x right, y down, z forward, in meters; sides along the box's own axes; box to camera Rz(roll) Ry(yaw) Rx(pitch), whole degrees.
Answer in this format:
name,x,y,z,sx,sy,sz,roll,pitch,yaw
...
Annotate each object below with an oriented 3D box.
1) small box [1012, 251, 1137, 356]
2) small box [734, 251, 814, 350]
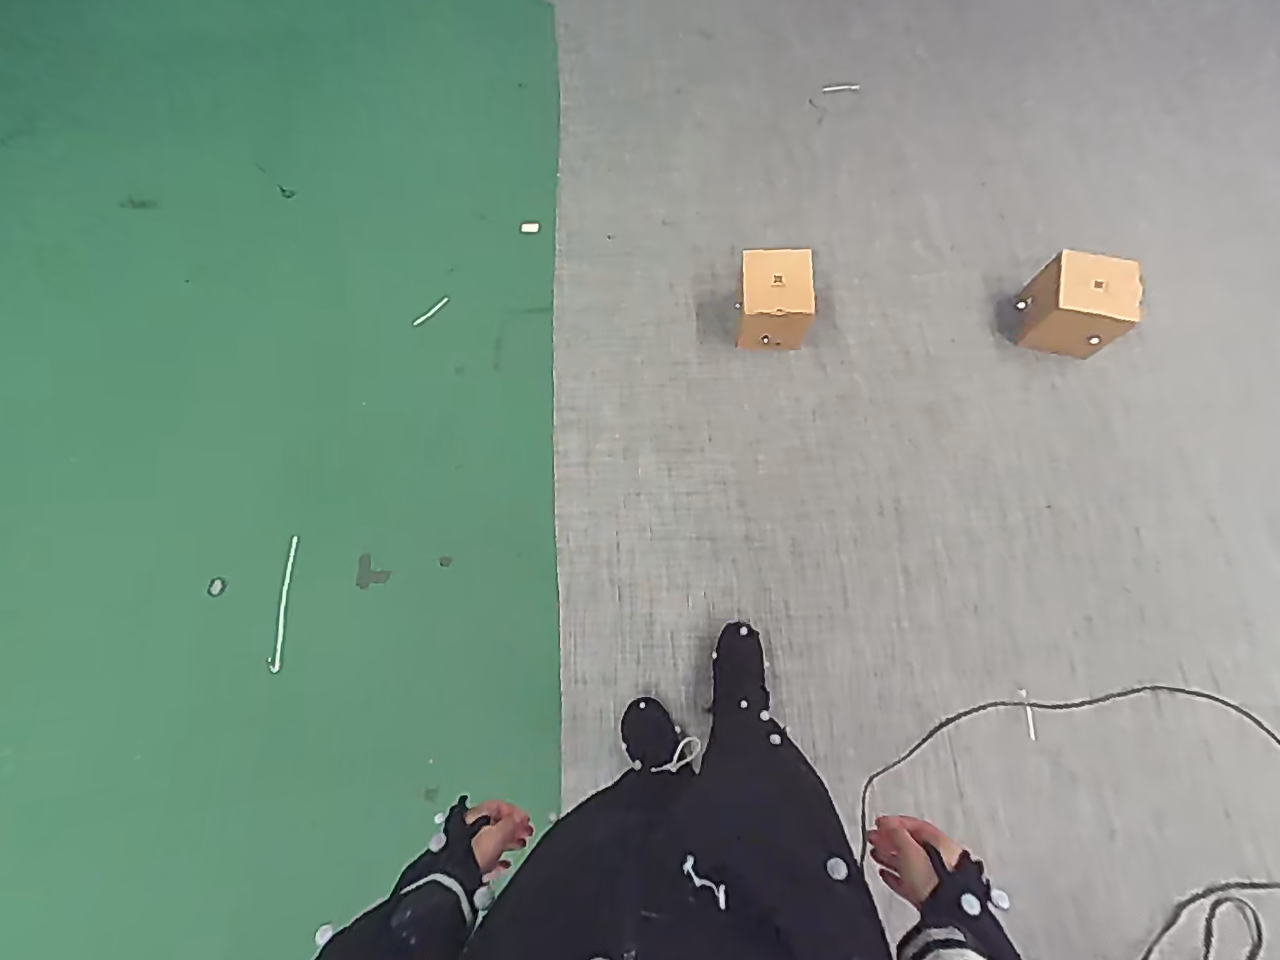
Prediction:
name,x,y,z,sx,sy,sz,roll,pitch,yaw
small box,1.047,-0.420,1.311,0.179,0.176,0.168,12,74,7
small box,0.329,-0.448,1.356,0.168,0.176,0.179,0,75,3
